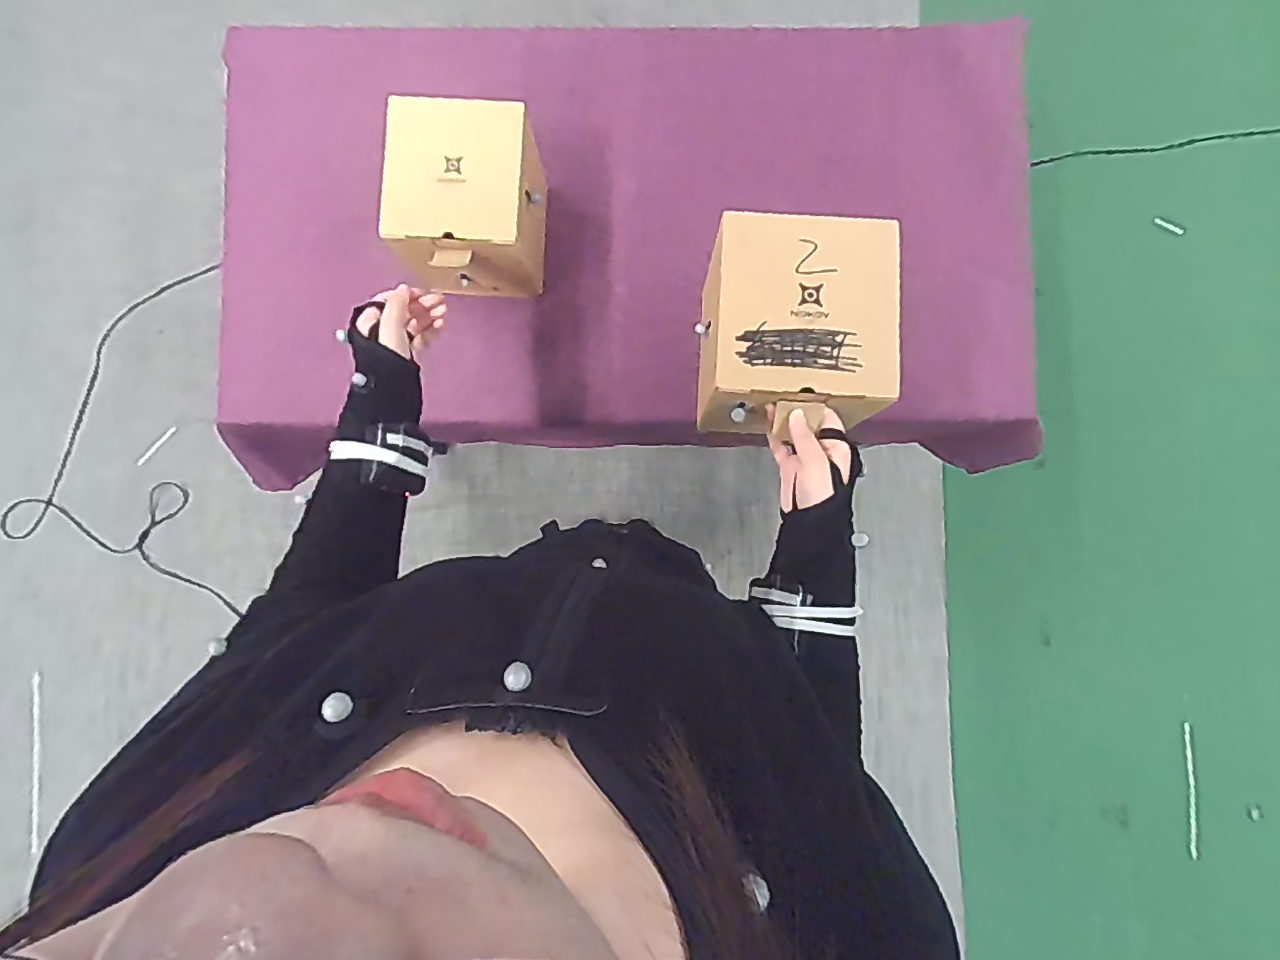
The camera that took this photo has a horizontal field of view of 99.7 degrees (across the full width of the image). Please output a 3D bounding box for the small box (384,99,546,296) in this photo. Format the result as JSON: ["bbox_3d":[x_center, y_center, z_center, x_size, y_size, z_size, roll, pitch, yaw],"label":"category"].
[{"bbox_3d":[-0.226,-0.373,0.741,0.168,0.176,0.179,3,88,-1],"label":"small box"}]
